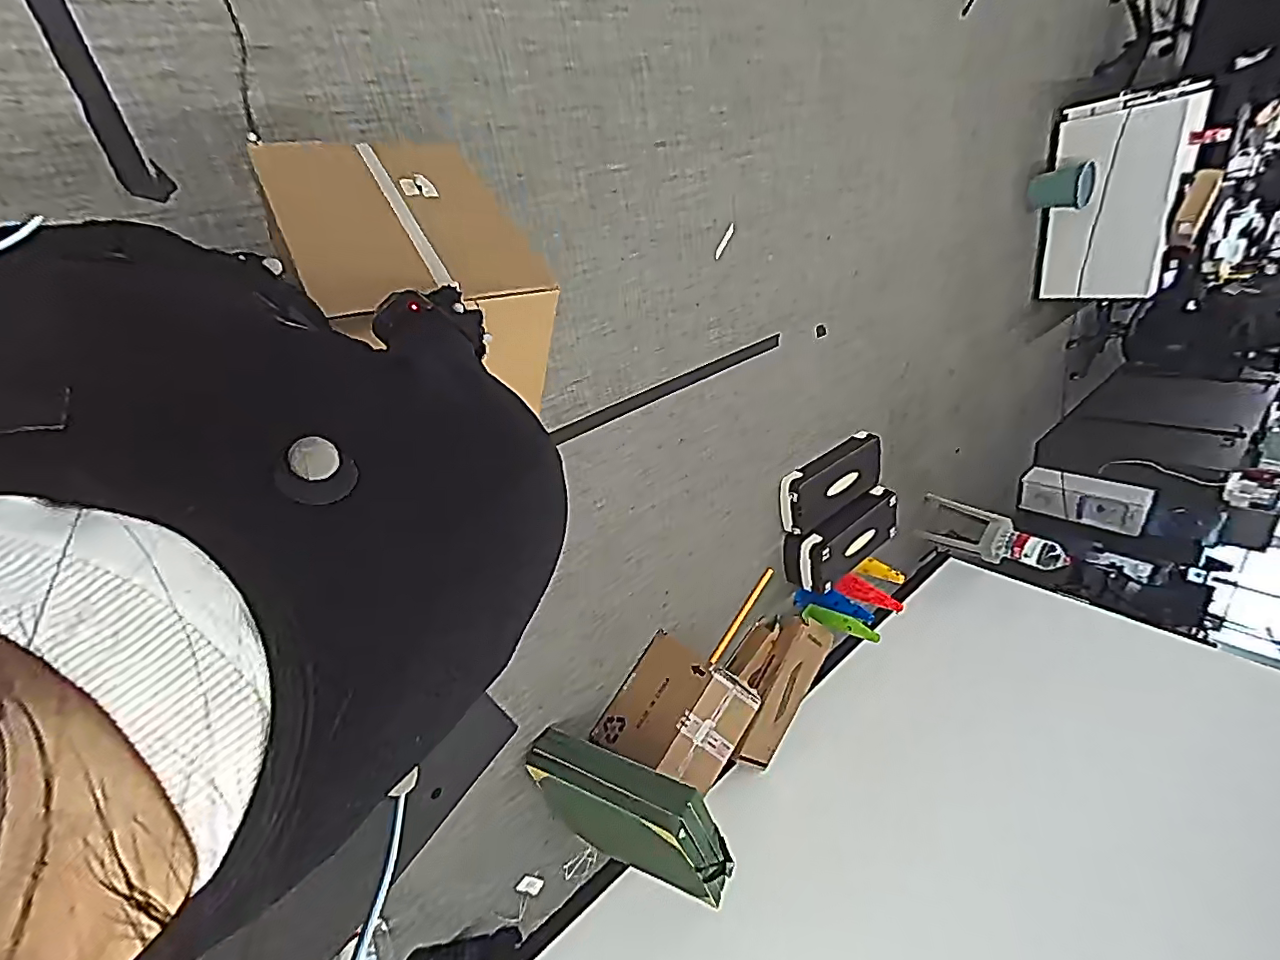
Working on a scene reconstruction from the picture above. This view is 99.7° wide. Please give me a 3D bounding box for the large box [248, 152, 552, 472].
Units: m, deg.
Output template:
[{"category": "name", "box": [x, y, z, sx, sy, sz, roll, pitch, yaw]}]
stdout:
[{"category": "large box", "box": [-0.388, -0.286, 0.907, 0.320, 0.408, 0.320, -19, 152, -30]}]
